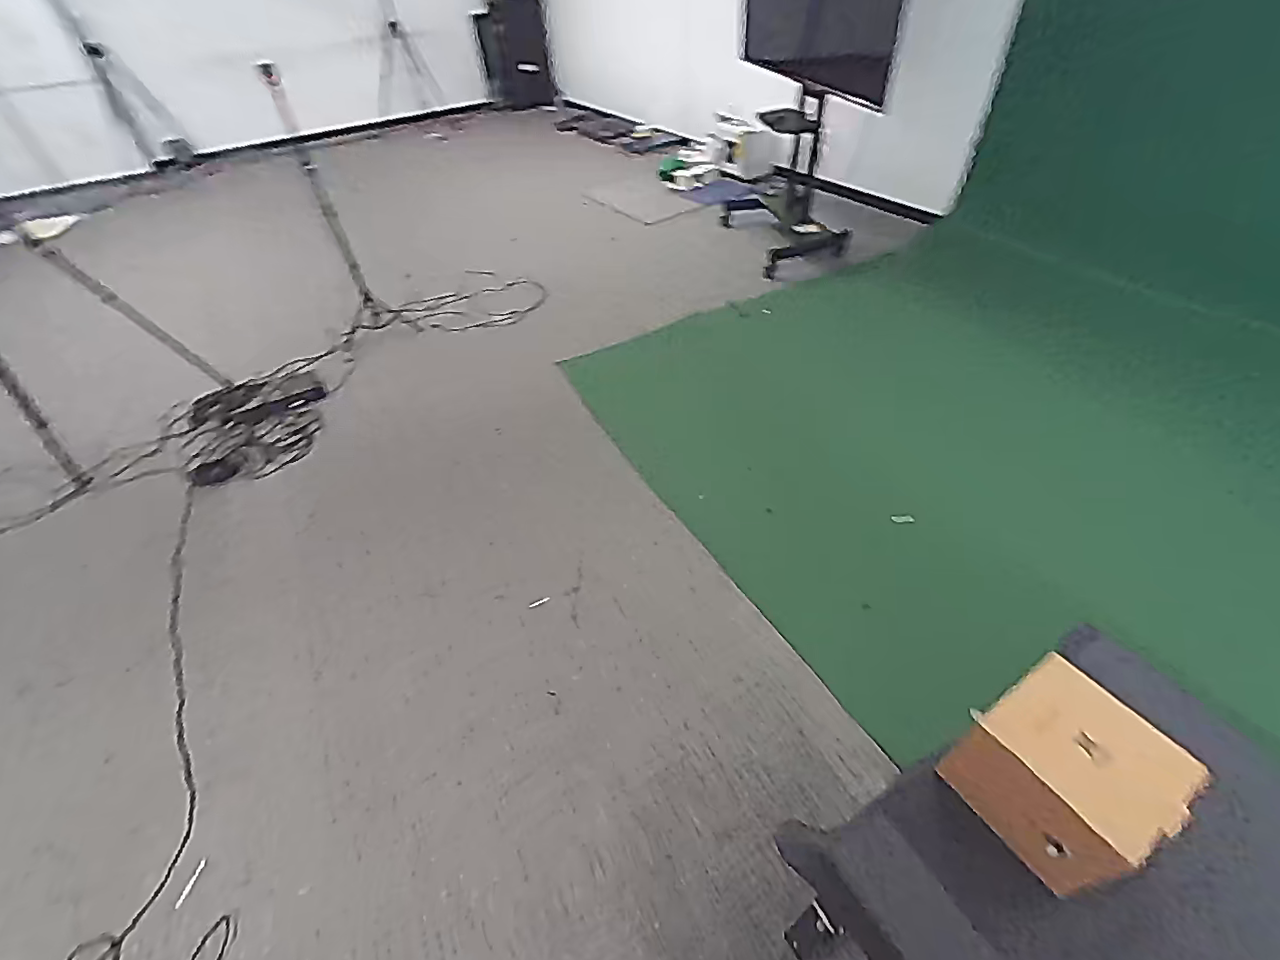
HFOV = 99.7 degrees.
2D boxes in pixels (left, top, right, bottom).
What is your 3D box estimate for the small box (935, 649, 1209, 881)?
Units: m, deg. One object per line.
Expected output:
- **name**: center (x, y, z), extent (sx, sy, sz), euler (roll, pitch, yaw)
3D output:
- **small box**: center (0.512, 0.354, 0.668), extent (0.168, 0.176, 0.179), euler (-26, 47, -21)
